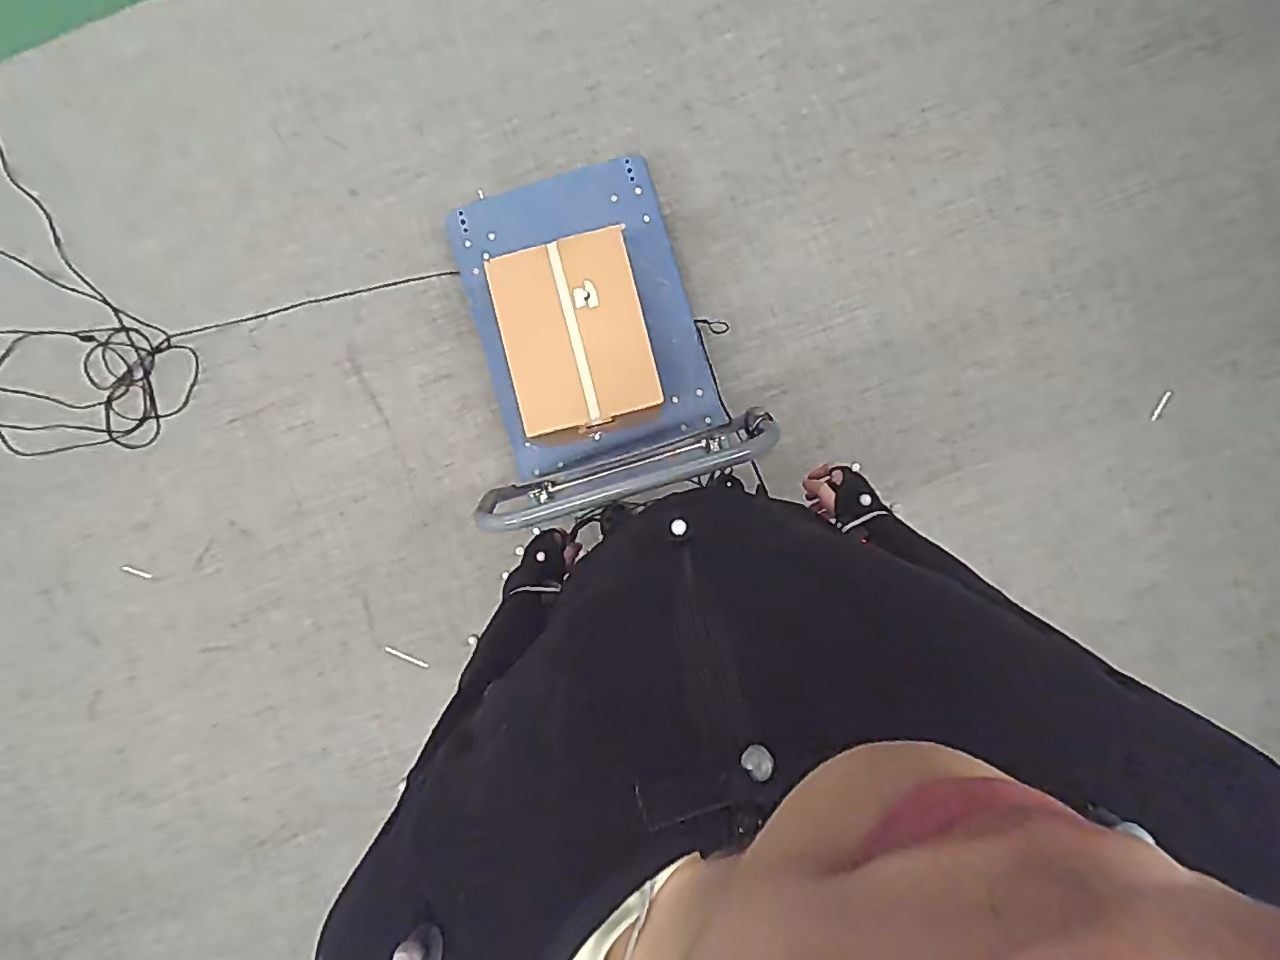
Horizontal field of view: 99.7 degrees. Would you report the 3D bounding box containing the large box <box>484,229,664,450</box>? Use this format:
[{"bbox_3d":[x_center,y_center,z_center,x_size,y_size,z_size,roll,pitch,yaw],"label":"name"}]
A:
[{"bbox_3d":[-0.140,-0.313,1.315,0.320,0.320,0.408,-14,88,0],"label":"large box"}]
